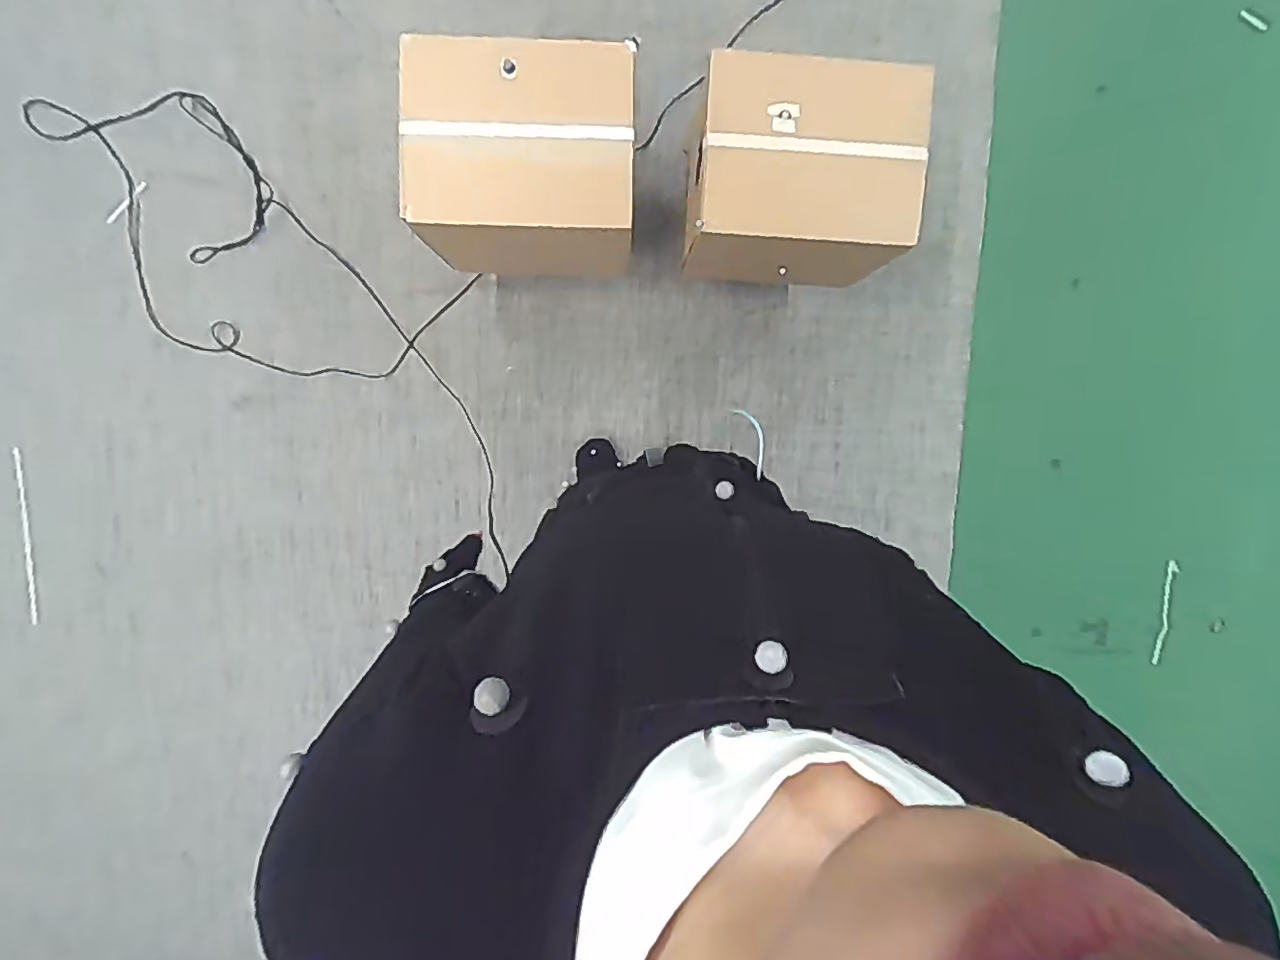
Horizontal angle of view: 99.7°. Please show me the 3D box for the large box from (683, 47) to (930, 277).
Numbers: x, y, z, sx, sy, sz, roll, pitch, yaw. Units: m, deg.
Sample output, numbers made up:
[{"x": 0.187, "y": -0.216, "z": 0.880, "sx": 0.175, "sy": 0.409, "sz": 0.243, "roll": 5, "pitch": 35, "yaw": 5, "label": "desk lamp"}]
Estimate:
[{"x": 0.313, "y": -0.624, "z": 1.125, "sx": 0.408, "sy": 0.320, "sz": 0.320, "roll": 3, "pitch": 96, "yaw": -2, "label": "large box"}]
